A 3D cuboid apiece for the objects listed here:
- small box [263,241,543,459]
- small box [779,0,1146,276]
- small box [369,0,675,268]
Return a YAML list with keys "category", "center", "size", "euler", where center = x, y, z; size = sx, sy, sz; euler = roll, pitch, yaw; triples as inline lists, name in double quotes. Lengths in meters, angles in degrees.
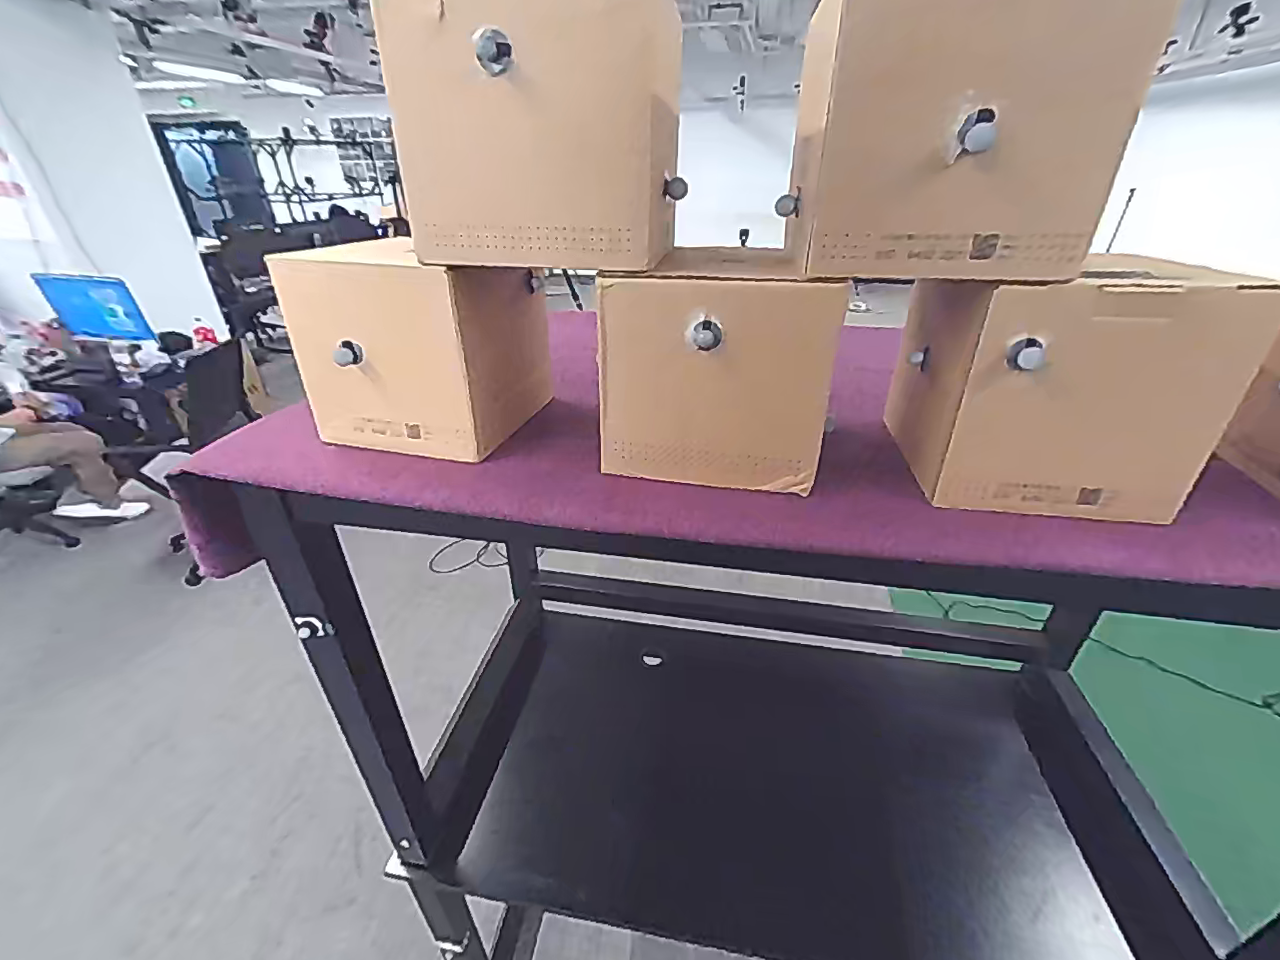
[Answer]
- category: "small box"
  center: [-0.202, -0.132, 0.523]
  size: [0.168, 0.176, 0.179]
  euler: [7, 29, 12]
- category: "small box"
  center: [0.193, -0.241, 0.374]
  size: [0.168, 0.176, 0.179]
  euler: [3, 30, 7]
- category: "small box"
  center: [-0.070, -0.261, 0.415]
  size: [0.179, 0.176, 0.168]
  euler: [5, 30, 8]
